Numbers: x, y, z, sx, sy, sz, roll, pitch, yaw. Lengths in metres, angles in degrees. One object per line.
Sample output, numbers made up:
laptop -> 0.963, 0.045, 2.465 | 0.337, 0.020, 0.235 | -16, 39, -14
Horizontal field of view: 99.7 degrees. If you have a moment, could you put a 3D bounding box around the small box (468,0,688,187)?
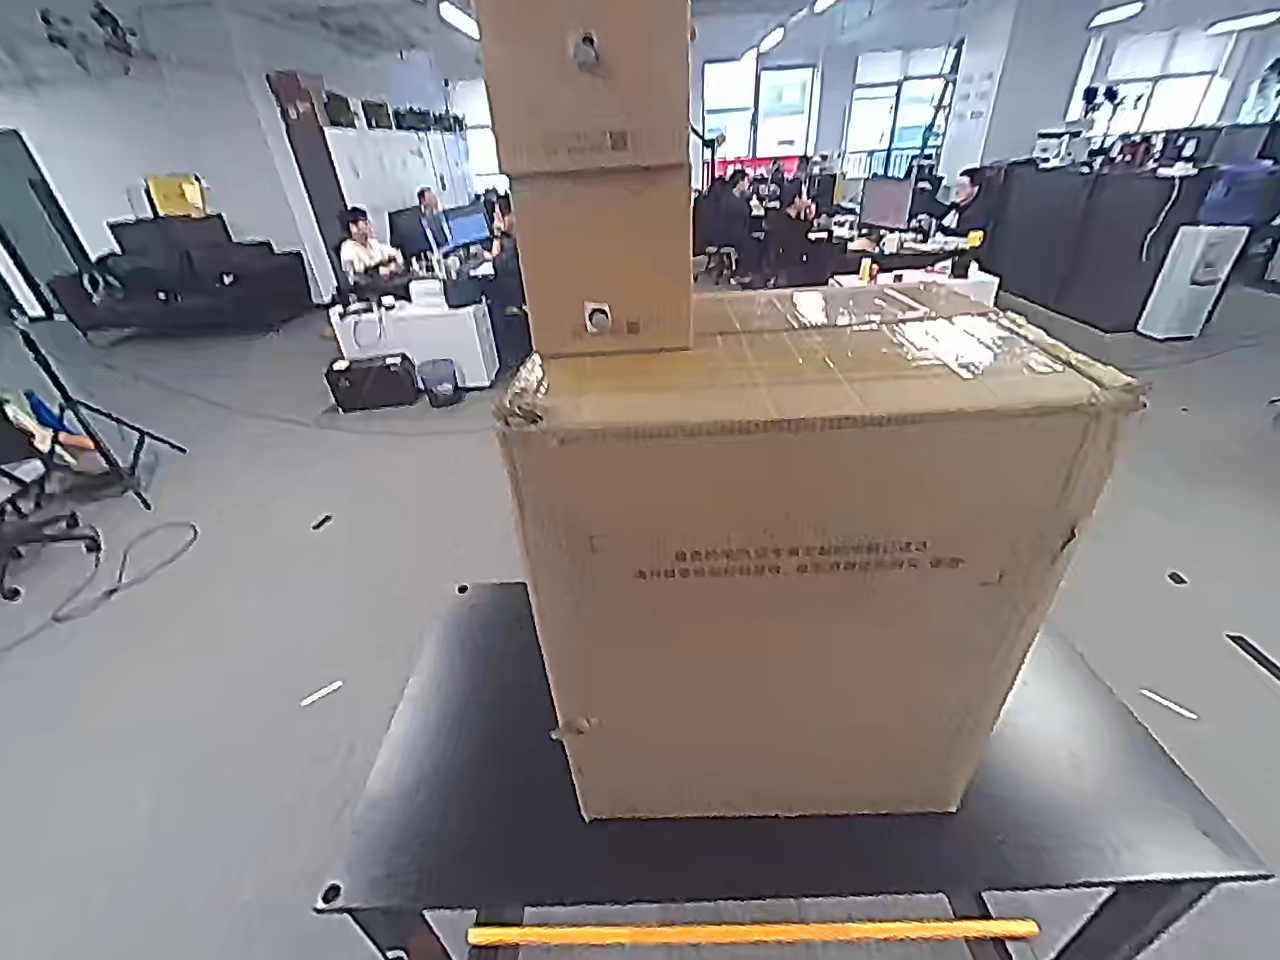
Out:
small box -> -0.047, -0.369, 0.496 | 0.168, 0.176, 0.179 | -4, 31, 0

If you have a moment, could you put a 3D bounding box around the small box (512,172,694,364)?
small box -> -0.034, -0.237, 0.593 | 0.168, 0.176, 0.179 | -6, 32, -1
